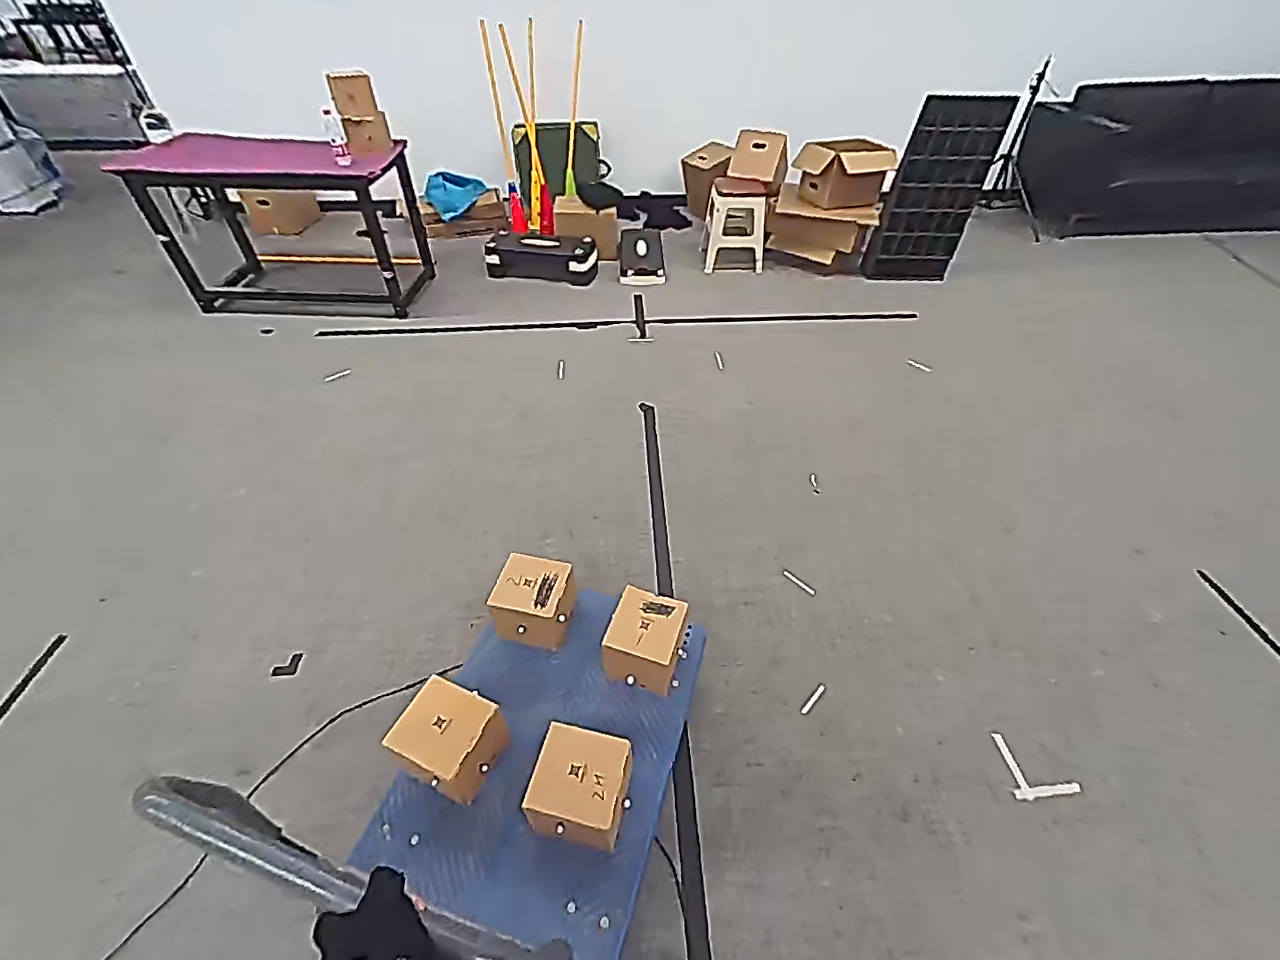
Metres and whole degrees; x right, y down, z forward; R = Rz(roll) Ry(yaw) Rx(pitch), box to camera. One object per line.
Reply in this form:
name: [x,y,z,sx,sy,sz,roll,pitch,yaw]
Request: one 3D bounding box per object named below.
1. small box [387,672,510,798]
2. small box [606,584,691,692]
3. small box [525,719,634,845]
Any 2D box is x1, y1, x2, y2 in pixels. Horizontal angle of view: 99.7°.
small box: [-0.409,0.561,1.183,0.179,0.176,0.168,18,47,15]
small box: [0.021,0.396,1.356,0.168,0.176,0.179,14,47,14]
small box: [-0.115,0.627,1.118,0.179,0.176,0.168,10,45,10]
